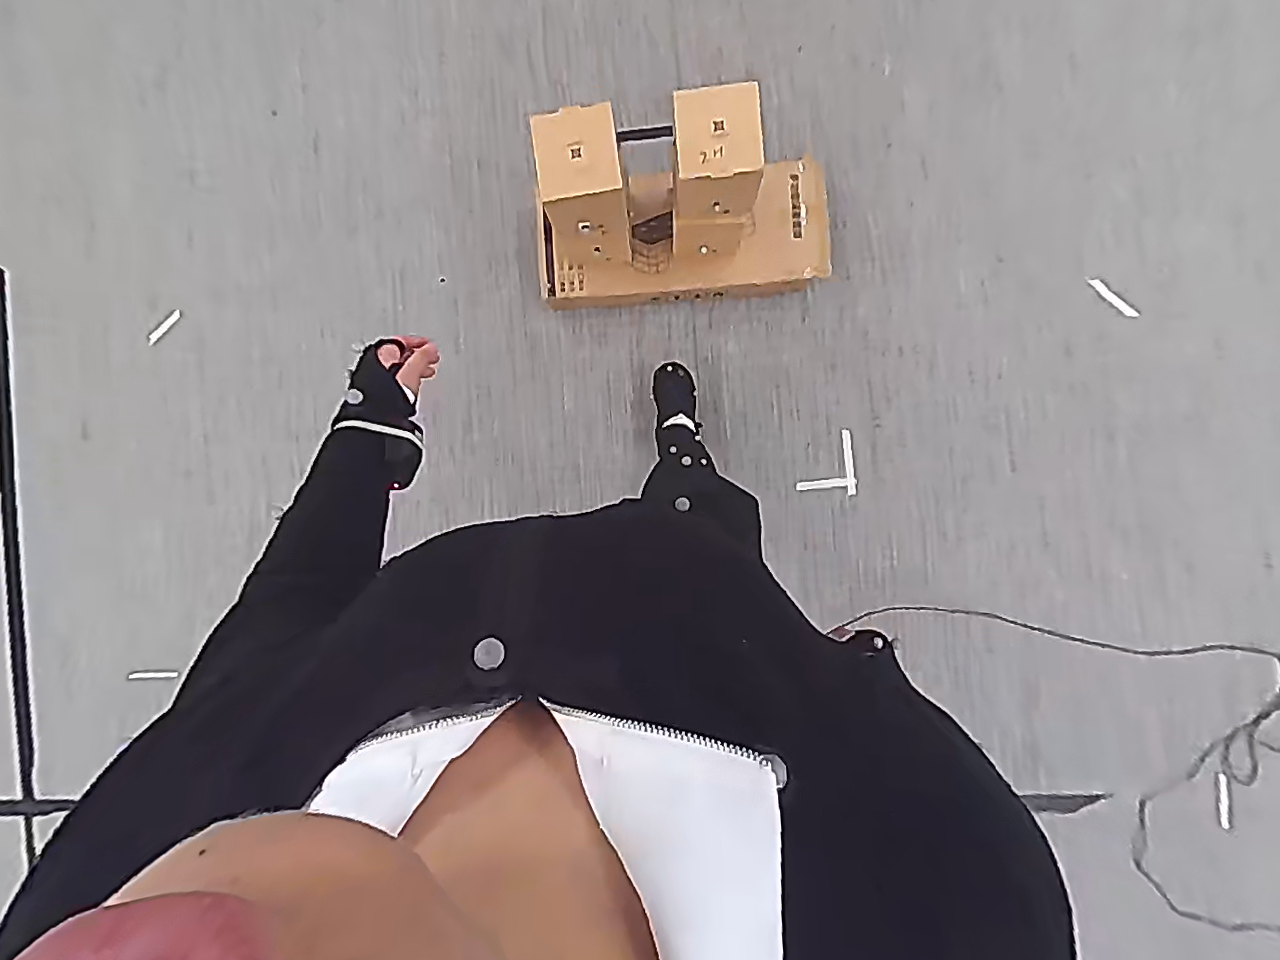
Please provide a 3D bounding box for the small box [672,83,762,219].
[{"bbox_3d":[0.153,-0.672,1.121,0.168,0.176,0.179,-4,90,4],"label":"small box"}]

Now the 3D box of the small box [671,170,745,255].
[{"bbox_3d":[0.158,-0.657,1.287,0.168,0.176,0.179,0,91,4],"label":"small box"}]

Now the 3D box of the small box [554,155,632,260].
[{"bbox_3d":[-0.110,-0.644,1.301,0.168,0.176,0.179,-2,91,4],"label":"small box"}]

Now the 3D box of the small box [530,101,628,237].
[{"bbox_3d":[-0.122,-0.644,1.138,0.168,0.176,0.179,-9,90,4],"label":"small box"}]
